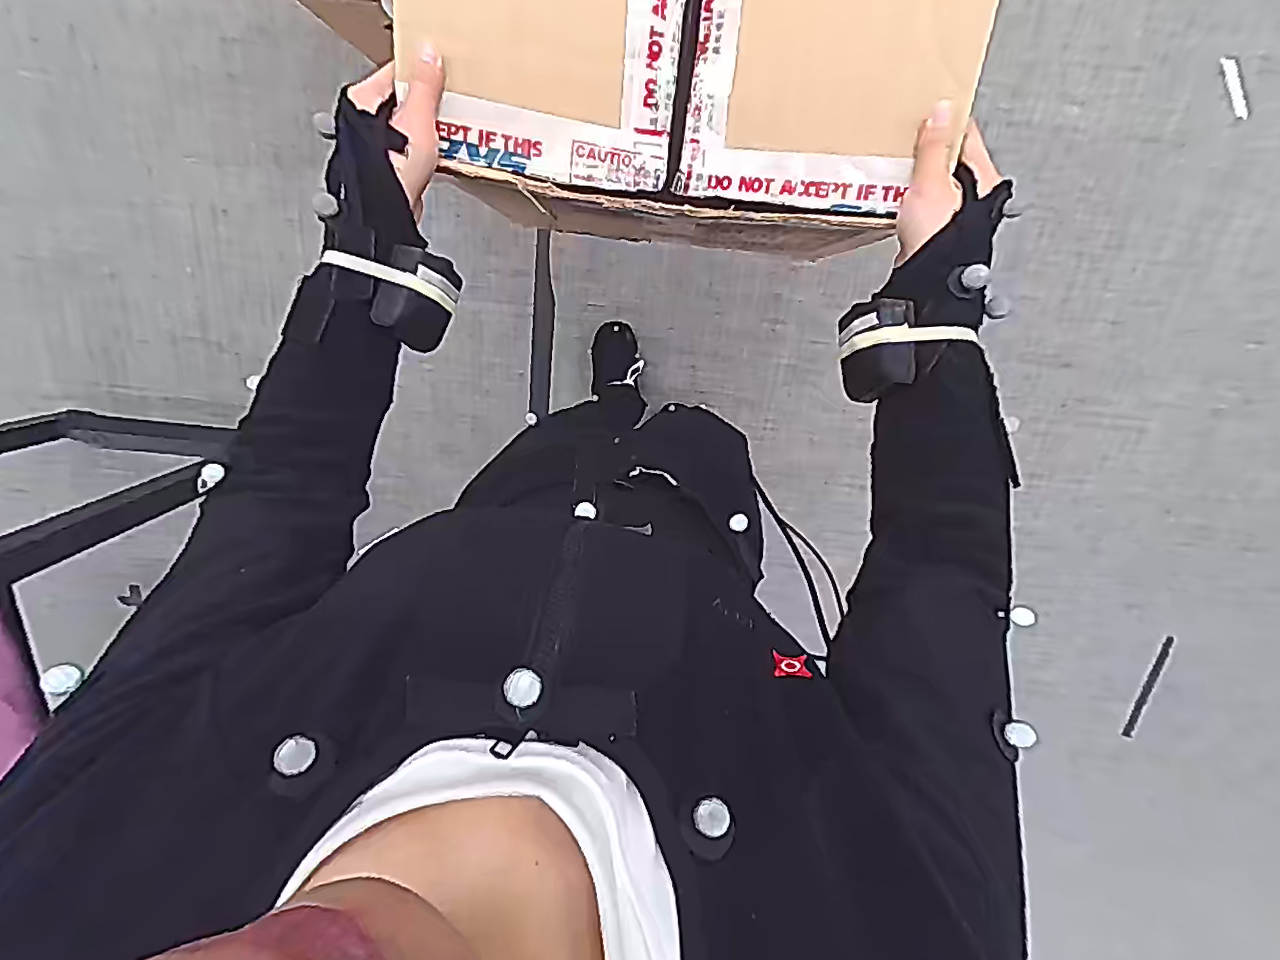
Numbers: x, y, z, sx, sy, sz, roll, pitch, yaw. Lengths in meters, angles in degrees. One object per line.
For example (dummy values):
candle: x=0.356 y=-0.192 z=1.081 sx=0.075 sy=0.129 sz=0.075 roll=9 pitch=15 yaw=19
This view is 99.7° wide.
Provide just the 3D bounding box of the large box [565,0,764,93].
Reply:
large box: x=0.047 y=-0.954 z=0.918 sx=0.320 sy=0.320 sz=0.408 roll=4 pitch=110 yaw=-1
